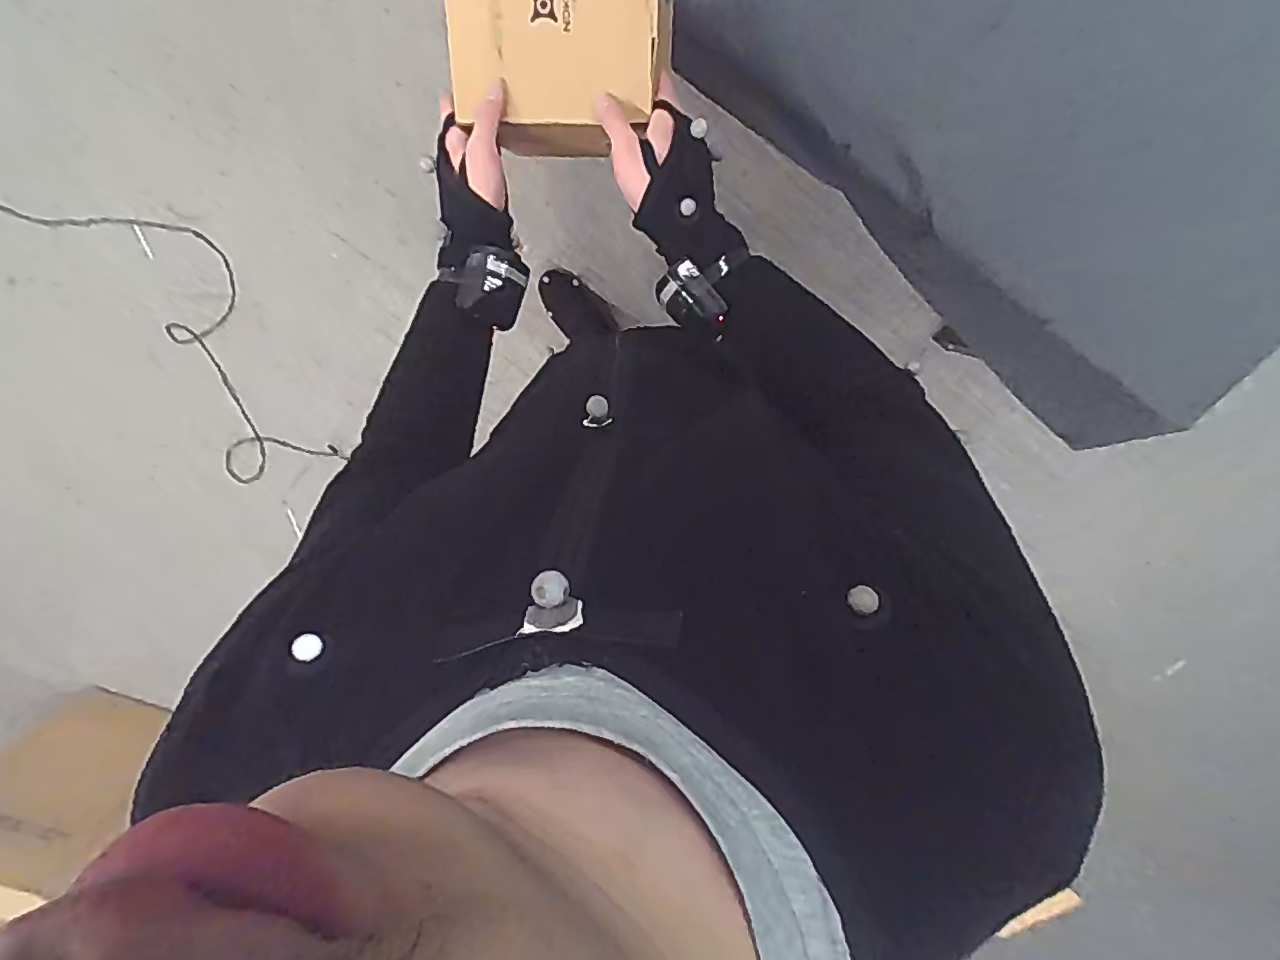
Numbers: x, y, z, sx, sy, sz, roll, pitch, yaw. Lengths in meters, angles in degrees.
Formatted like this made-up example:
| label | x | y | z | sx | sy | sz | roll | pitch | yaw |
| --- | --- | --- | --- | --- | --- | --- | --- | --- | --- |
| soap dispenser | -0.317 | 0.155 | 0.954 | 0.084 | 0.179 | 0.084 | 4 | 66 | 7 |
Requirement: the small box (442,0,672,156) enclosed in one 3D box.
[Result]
| label | x | y | z | sx | sy | sz | roll | pitch | yaw |
| --- | --- | --- | --- | --- | --- | --- | --- | --- | --- |
| small box | -0.063 | -0.407 | 0.493 | 0.179 | 0.176 | 0.168 | 4 | 110 | 6 |
